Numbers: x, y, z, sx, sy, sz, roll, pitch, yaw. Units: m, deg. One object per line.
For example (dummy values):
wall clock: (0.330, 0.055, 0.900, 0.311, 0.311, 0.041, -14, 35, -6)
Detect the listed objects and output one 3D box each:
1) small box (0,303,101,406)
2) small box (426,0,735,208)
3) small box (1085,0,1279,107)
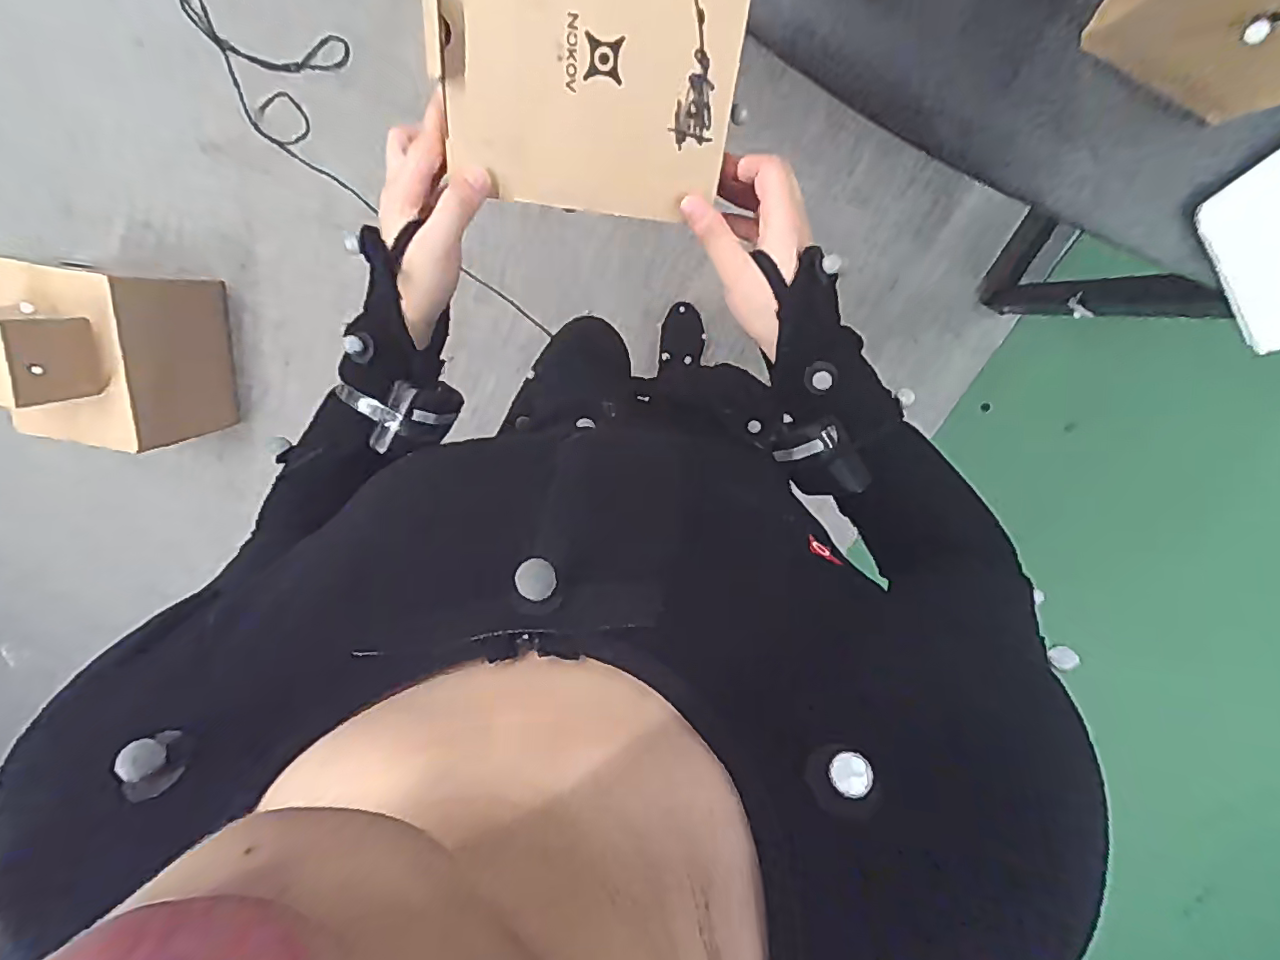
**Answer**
small box: (-1.297, -0.268, 1.137, 0.168, 0.176, 0.179, 10, 108, 0)
small box: (-0.032, -0.301, 0.375, 0.179, 0.176, 0.168, 7, 124, -2)
small box: (0.554, -0.457, 0.458, 0.179, 0.176, 0.168, 27, 107, -3)
